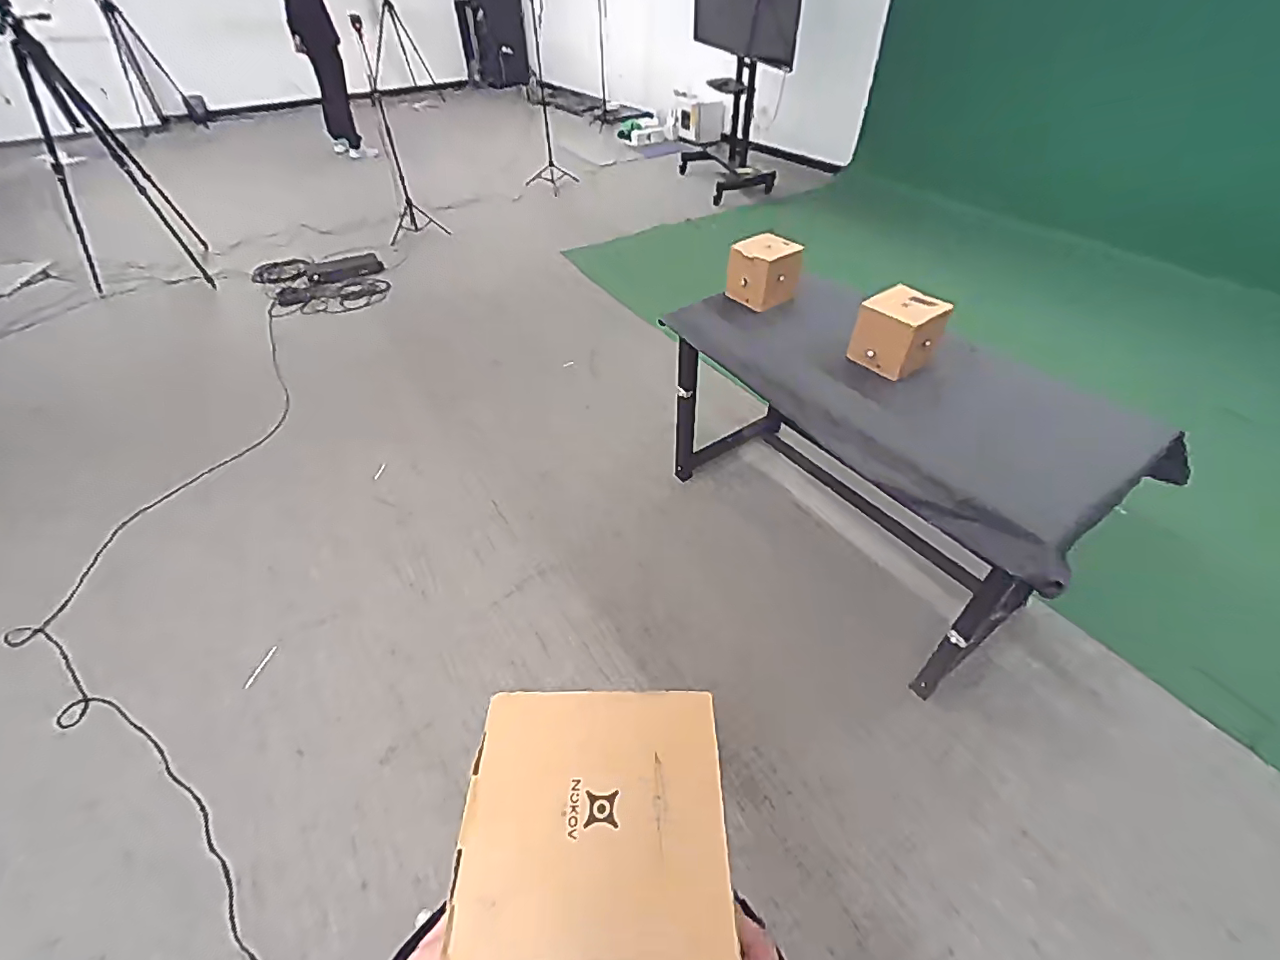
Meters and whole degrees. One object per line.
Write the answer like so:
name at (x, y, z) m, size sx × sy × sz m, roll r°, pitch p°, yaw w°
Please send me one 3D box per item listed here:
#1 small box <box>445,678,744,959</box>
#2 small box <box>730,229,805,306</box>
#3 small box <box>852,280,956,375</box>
small box at (-0.027, 0.270, 0.420) m, size 0.179 × 0.176 × 0.168 m, roll 0°, pitch 44°, yaw -1°
small box at (0.409, -0.690, 1.762) m, size 0.179 × 0.176 × 0.168 m, roll -30°, pitch 52°, yaw -25°
small box at (0.707, -0.415, 1.470) m, size 0.179 × 0.176 × 0.168 m, roll -29°, pitch 50°, yaw -23°
